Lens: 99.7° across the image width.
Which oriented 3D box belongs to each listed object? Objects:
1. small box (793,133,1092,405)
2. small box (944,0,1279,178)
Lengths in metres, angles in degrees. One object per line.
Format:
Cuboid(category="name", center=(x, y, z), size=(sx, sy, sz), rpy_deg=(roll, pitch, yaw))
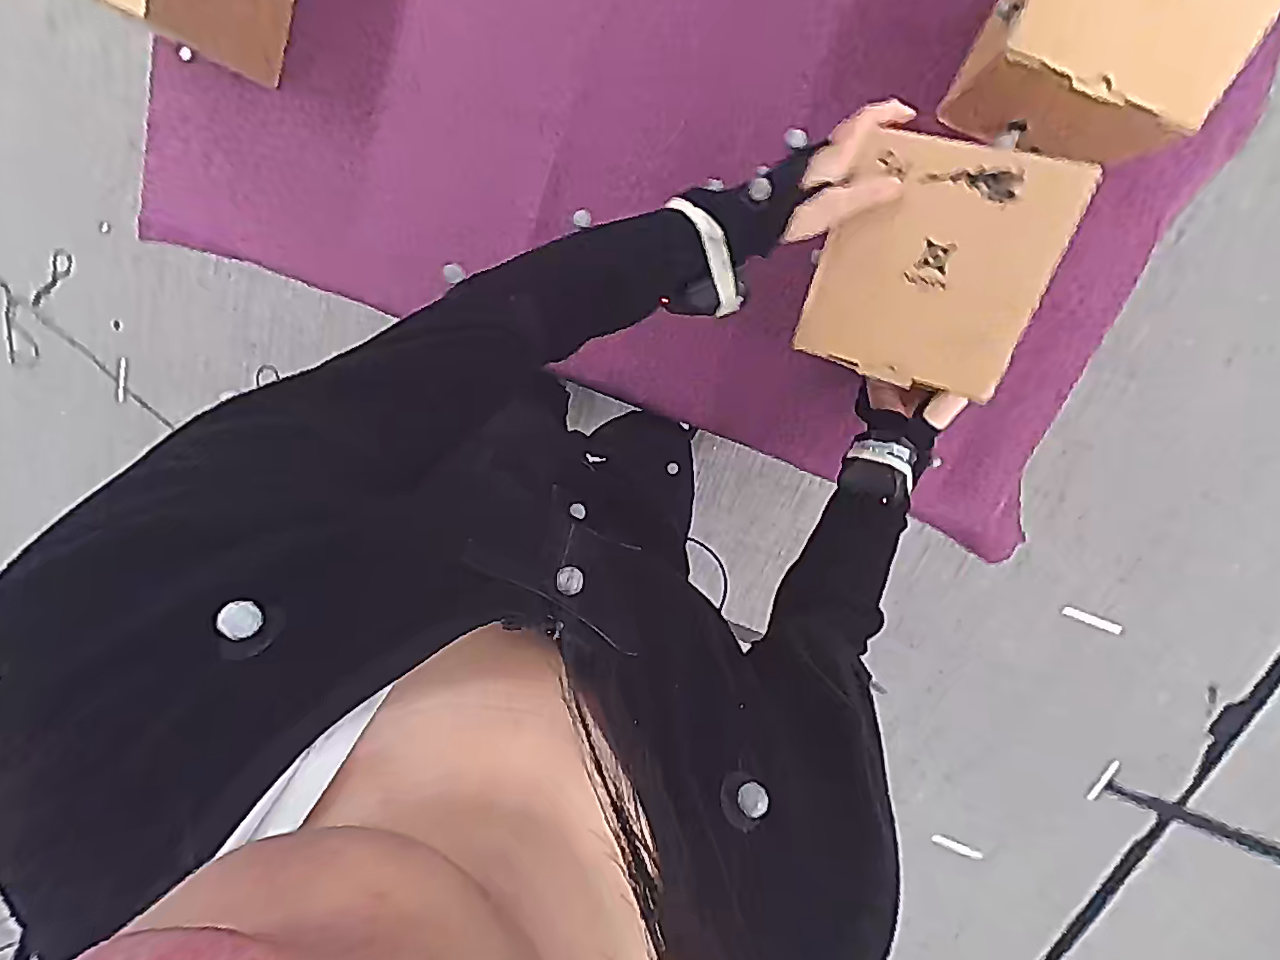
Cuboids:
Cuboid(category="small box", center=(0.260, -0.190, 0.511), size=(0.168, 0.176, 0.179), rpy_deg=(21, 112, 12))
Cuboid(category="small box", center=(0.413, -0.404, 0.484), size=(0.168, 0.176, 0.179), rpy_deg=(26, 111, 2))
